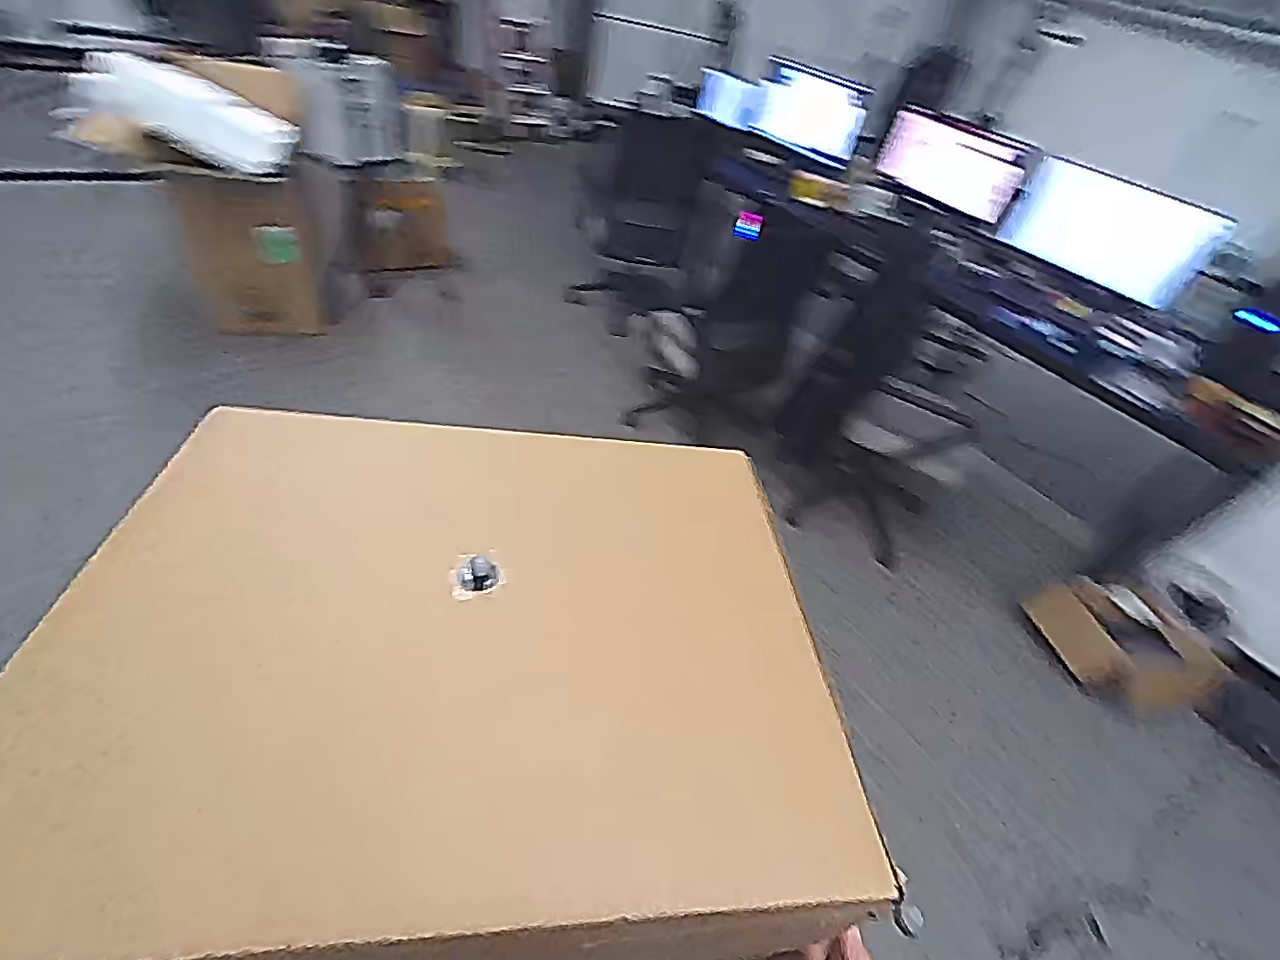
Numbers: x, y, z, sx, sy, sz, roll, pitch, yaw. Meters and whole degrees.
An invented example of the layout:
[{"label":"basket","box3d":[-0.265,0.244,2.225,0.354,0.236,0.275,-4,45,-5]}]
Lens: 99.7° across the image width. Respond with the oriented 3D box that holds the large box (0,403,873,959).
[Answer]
[{"label":"large box","box3d":[-0.128,0.159,0.416,0.408,0.320,0.320,2,45,-12]}]
